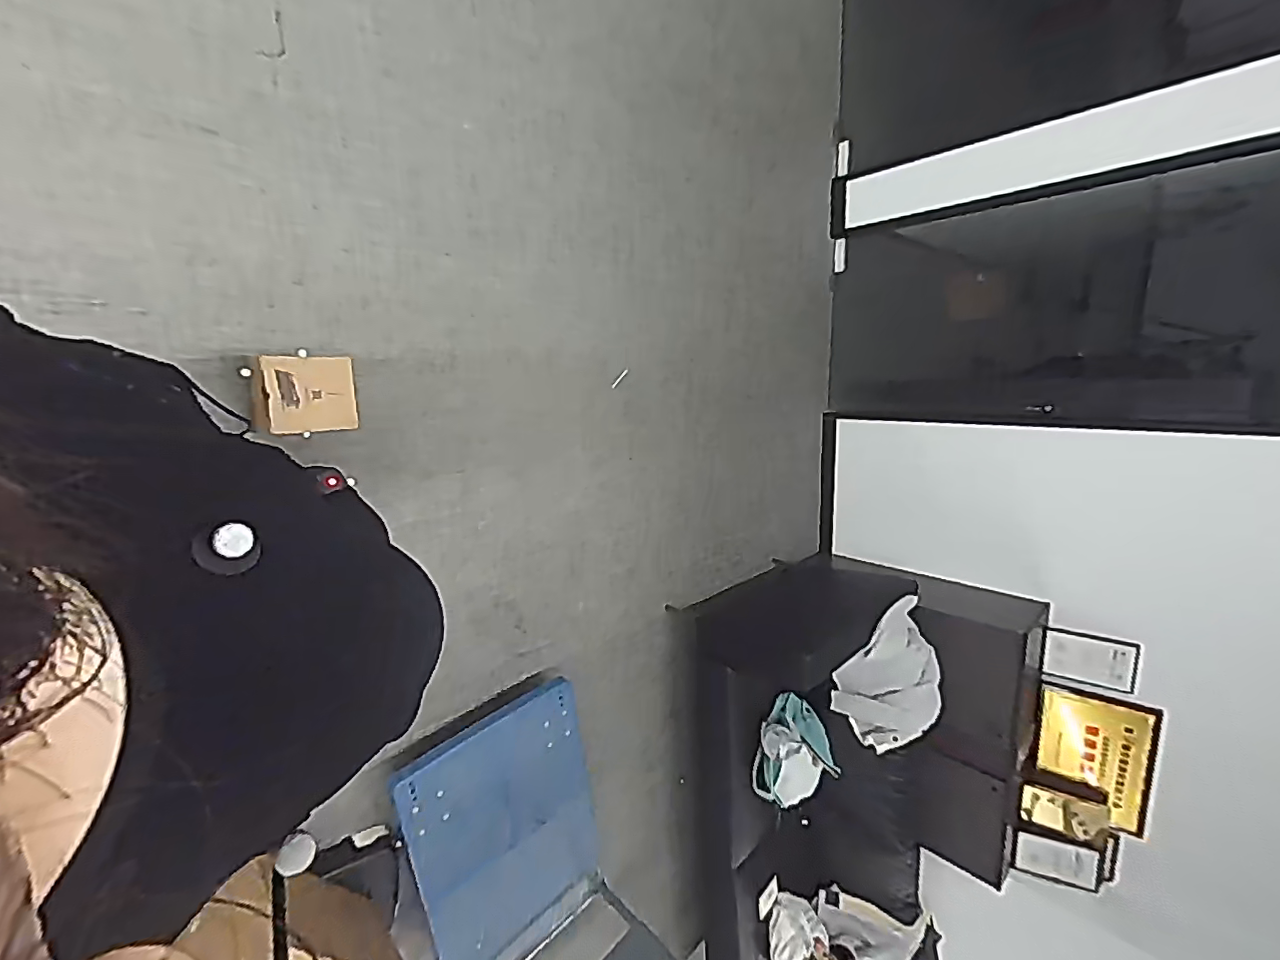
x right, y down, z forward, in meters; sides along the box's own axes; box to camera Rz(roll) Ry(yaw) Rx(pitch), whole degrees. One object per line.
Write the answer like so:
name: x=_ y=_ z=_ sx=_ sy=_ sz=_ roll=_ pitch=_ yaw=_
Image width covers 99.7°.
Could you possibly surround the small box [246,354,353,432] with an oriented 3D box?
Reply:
small box: x=-0.785 y=-0.200 z=1.241 sx=0.179 sy=0.176 sz=0.168 roll=-11 pitch=105 yaw=-43
